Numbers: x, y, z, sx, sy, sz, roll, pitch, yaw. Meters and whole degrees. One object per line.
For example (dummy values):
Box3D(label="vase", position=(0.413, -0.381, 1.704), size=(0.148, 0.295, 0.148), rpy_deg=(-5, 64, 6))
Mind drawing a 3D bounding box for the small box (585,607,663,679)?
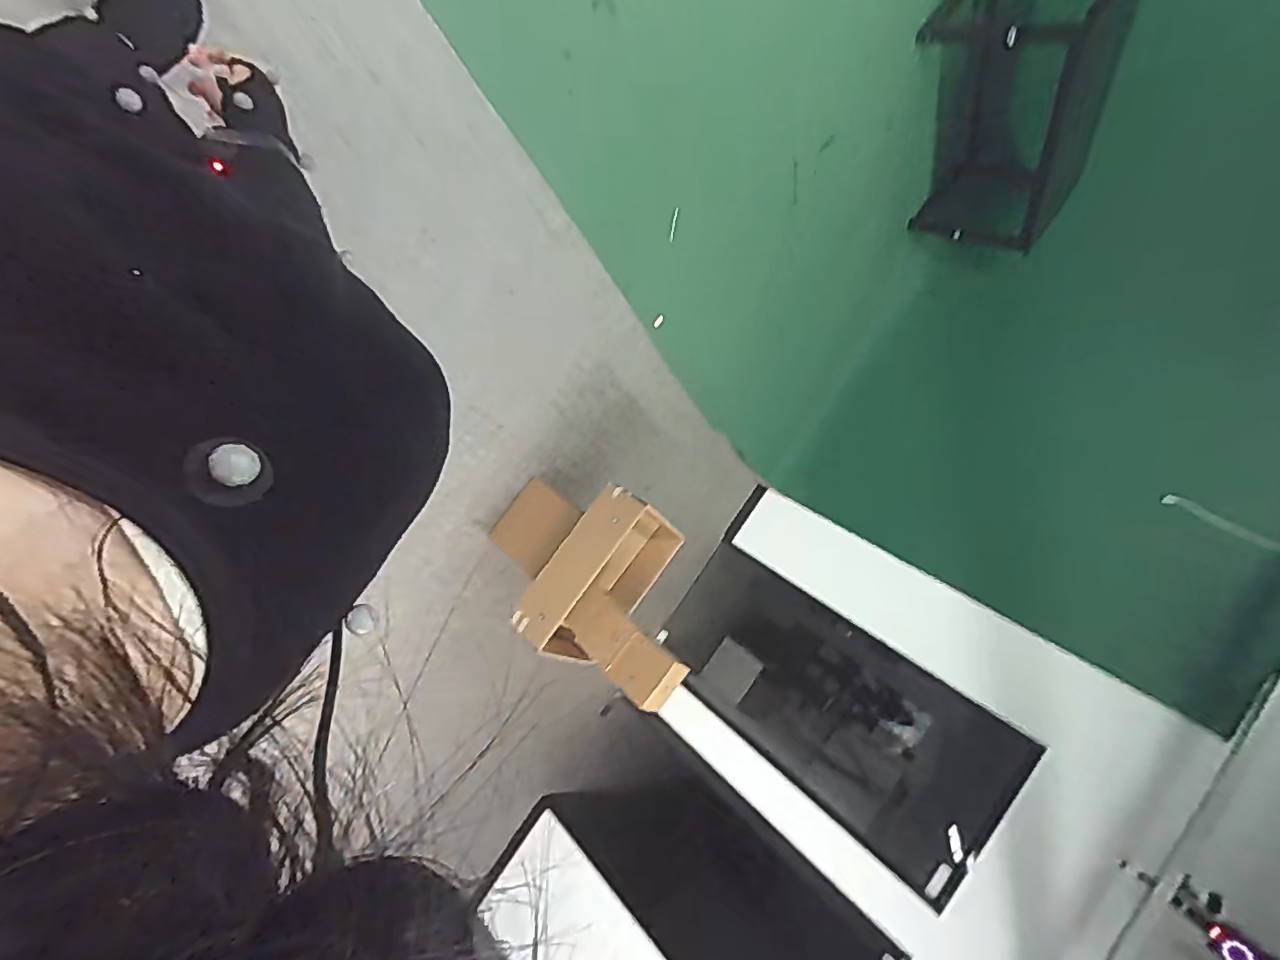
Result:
Box3D(label="small box", position=(-0.056, 0.565, 1.851), size=(0.179, 0.176, 0.168), rpy_deg=(-51, 144, -7))

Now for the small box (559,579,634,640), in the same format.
Box3D(label="small box", position=(-0.159, 0.481, 1.948), size=(0.168, 0.176, 0.179), rpy_deg=(-50, 145, -9))

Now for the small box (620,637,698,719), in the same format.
Box3D(label="small box", position=(0.056, 0.646, 1.764), size=(0.179, 0.176, 0.168), rpy_deg=(-52, 145, -8))
